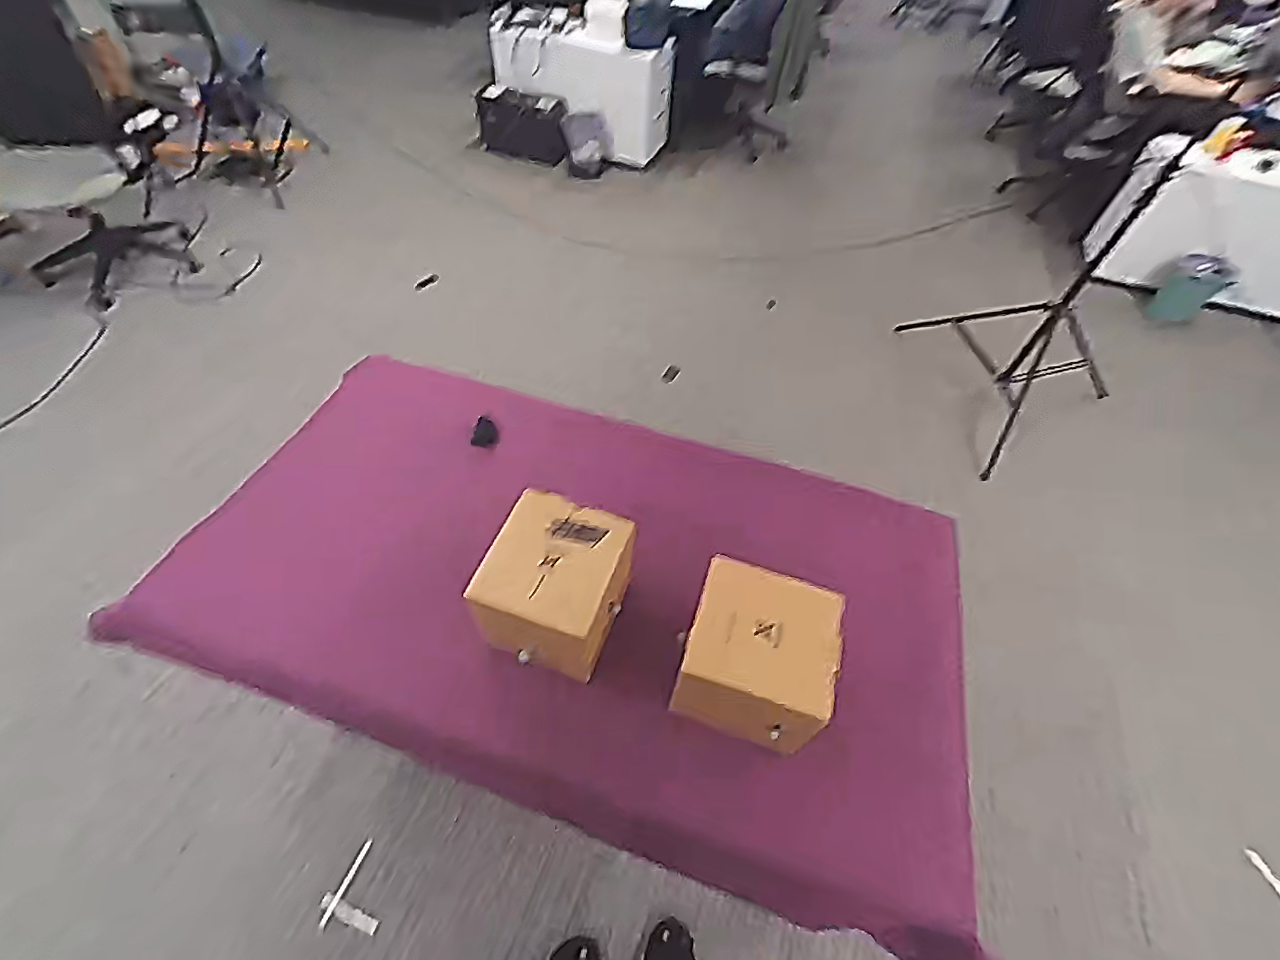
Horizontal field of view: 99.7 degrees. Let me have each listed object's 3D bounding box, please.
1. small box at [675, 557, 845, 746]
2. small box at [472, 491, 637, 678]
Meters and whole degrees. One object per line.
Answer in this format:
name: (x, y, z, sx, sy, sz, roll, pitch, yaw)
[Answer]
small box: (0.155, 0.235, 0.726, 0.179, 0.176, 0.168, 15, 51, 9)
small box: (-0.113, 0.151, 0.771, 0.168, 0.176, 0.179, 17, 53, 10)
